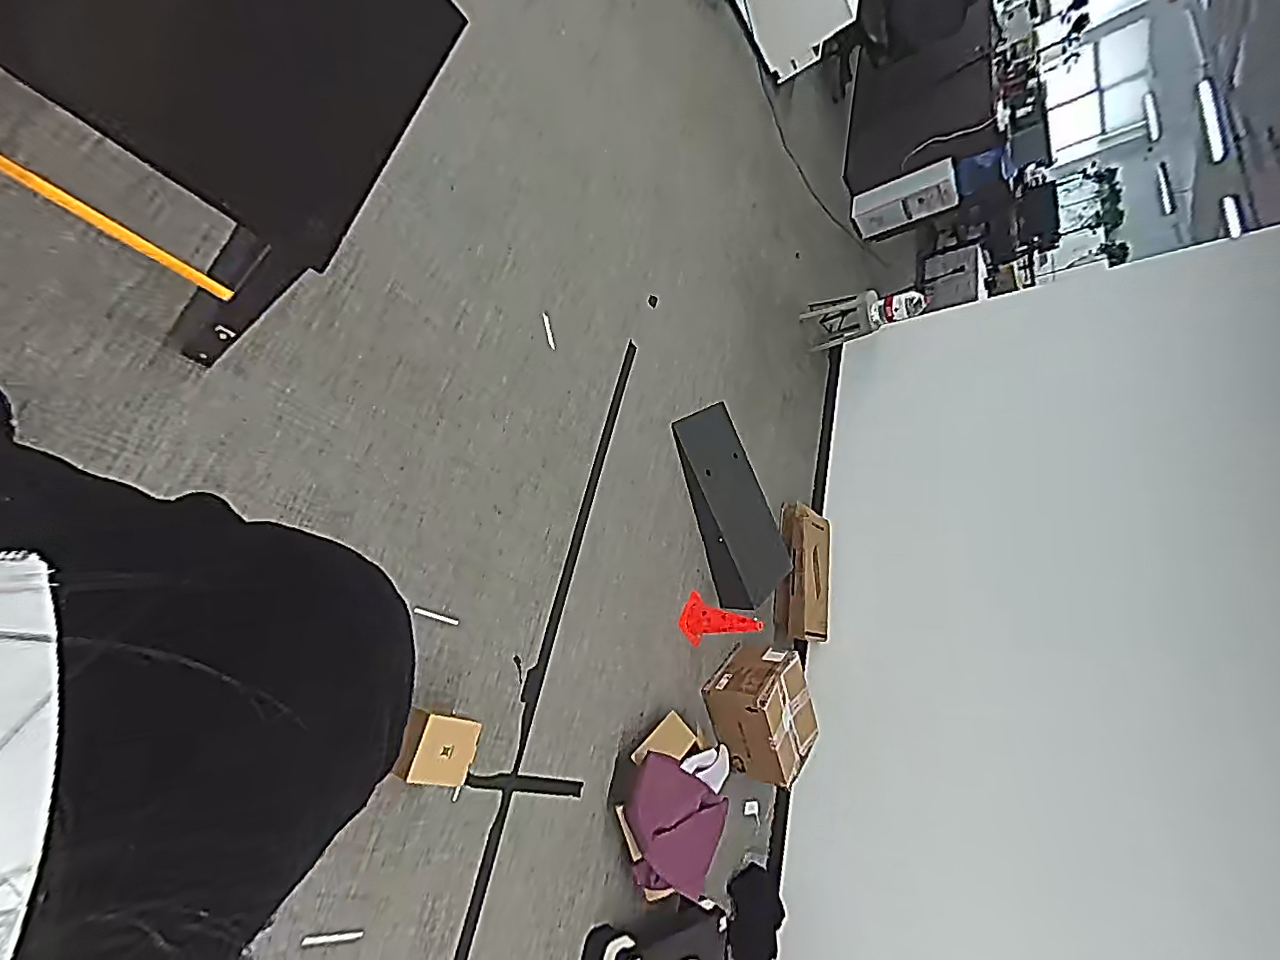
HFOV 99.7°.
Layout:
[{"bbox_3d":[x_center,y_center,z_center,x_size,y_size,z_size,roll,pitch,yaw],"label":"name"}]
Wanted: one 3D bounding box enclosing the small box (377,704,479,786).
[{"bbox_3d":[-0.584,0.727,1.490,0.179,0.176,0.168,34,60,-40],"label":"small box"}]
